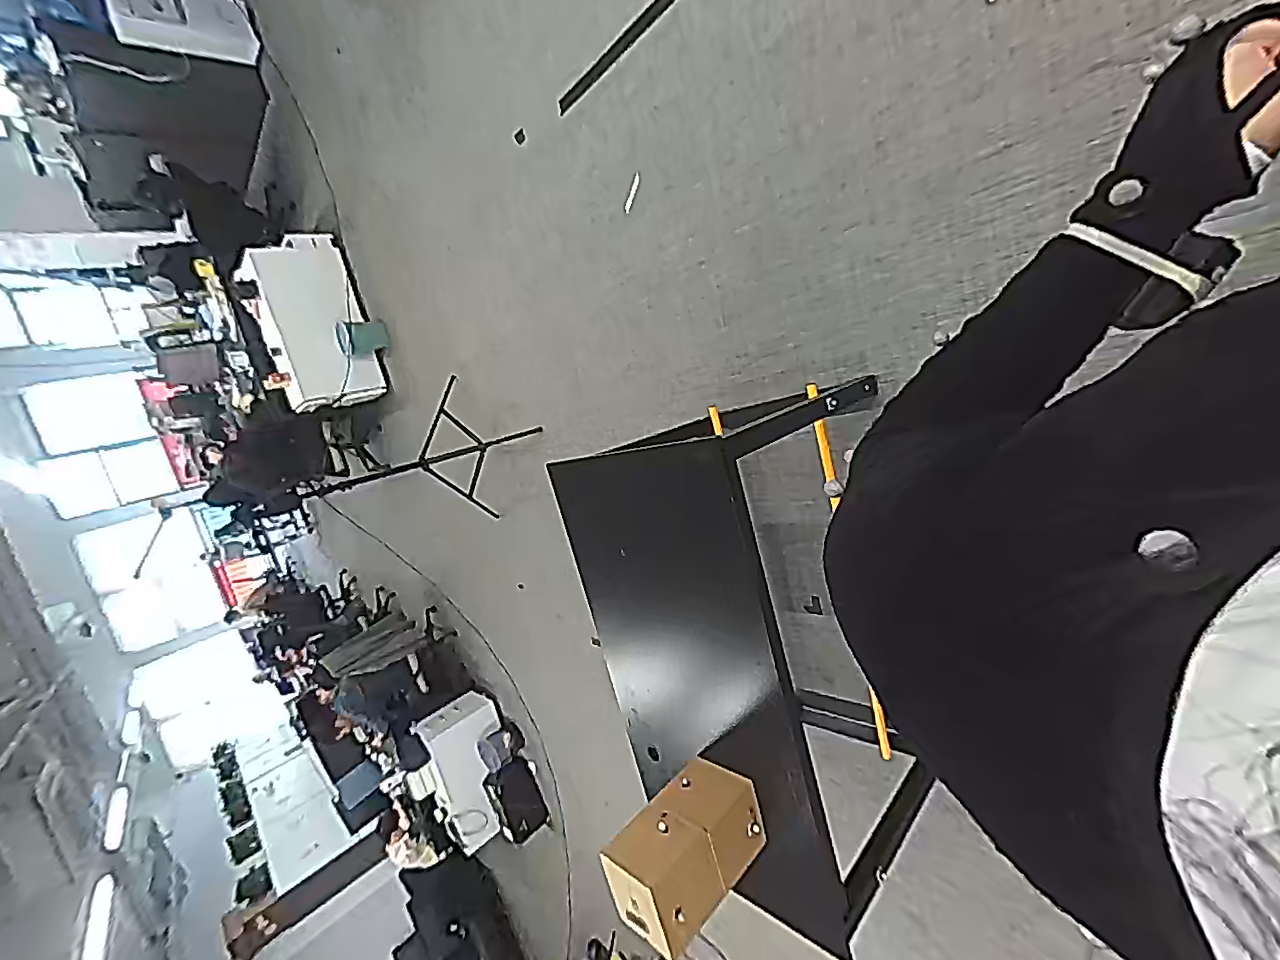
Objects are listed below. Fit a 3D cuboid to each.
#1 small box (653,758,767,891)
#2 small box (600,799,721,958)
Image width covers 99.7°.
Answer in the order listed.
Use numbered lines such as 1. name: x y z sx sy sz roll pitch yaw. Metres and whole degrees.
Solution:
1. small box: 0.164 0.783 1.255 0.179 0.176 0.168 -5 104 48
2. small box: 0.048 0.832 1.149 0.168 0.176 0.179 -6 103 49
